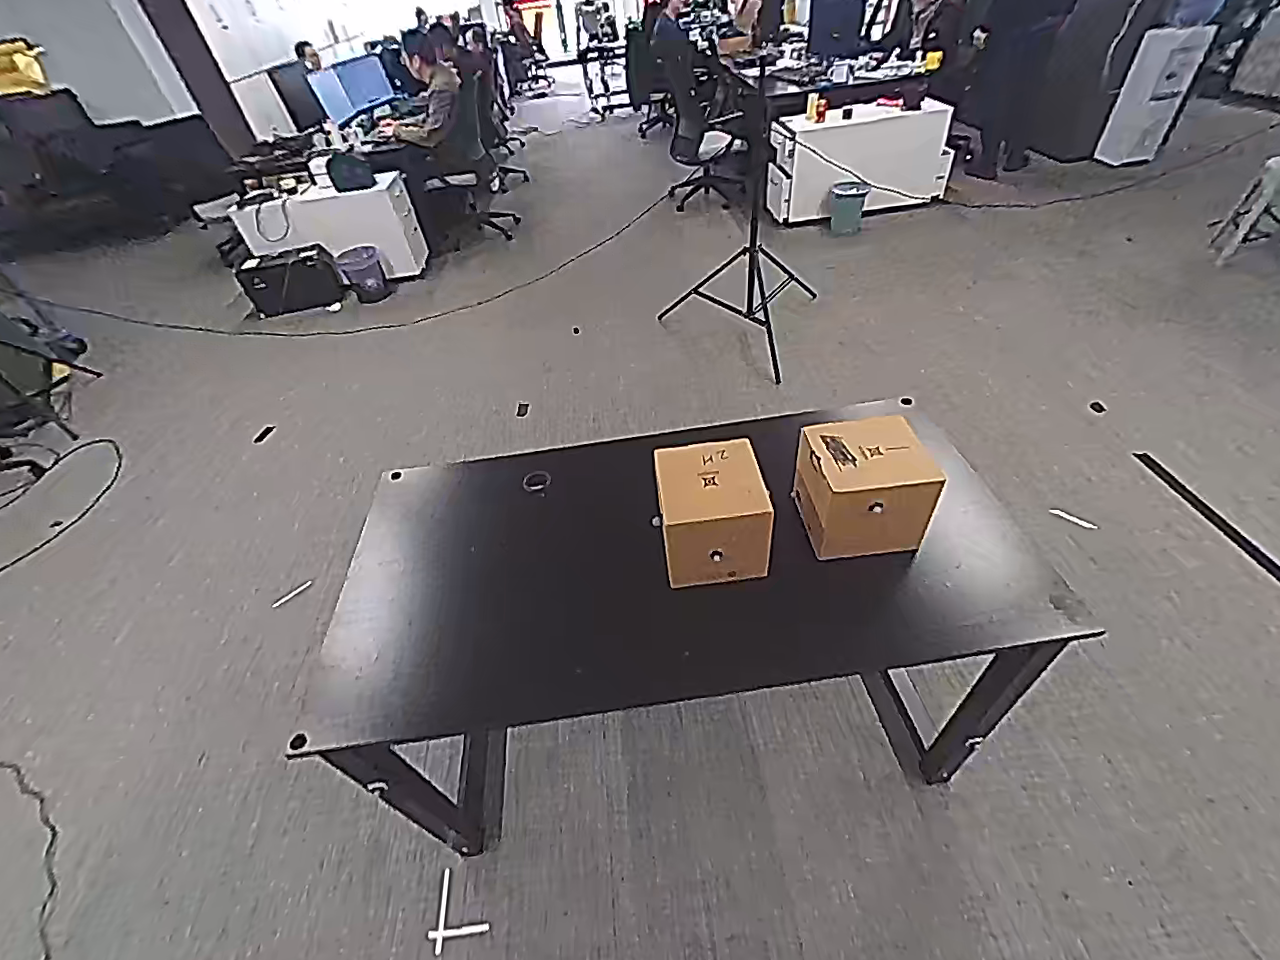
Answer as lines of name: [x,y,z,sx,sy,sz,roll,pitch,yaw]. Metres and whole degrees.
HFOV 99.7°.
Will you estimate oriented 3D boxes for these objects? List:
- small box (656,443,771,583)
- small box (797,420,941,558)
small box: [0.122,0.063,0.932,0.168,0.176,0.179,-7,44,1]
small box: [0.380,0.020,0.937,0.179,0.176,0.168,-6,44,1]
